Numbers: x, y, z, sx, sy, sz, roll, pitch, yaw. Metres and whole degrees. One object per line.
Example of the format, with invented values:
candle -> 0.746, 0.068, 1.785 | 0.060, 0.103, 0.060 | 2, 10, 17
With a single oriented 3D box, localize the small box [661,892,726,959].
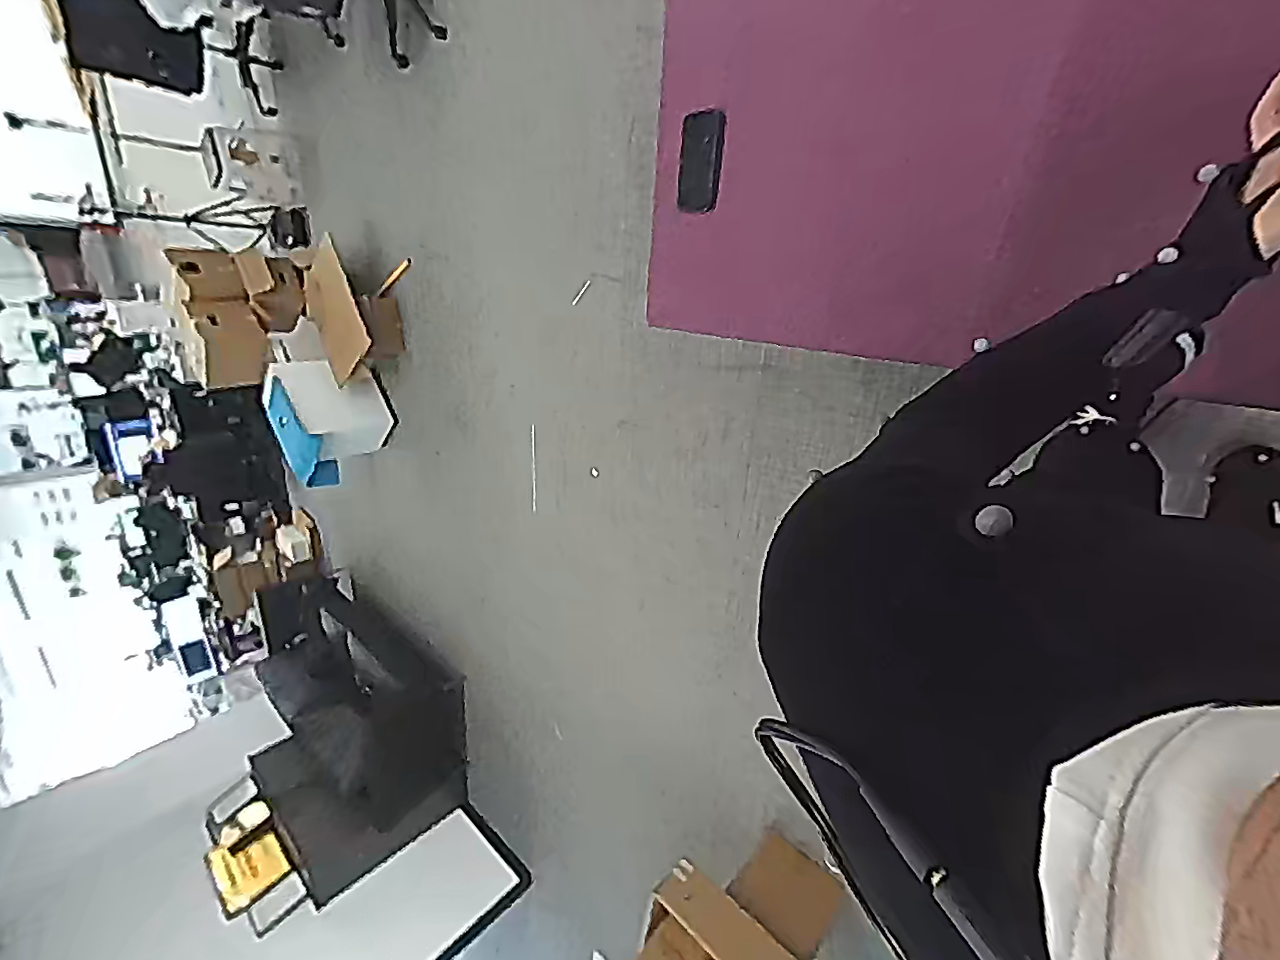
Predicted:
small box -> 0.179, 1.610, 1.889 | 0.168, 0.176, 0.179 | 27, 119, 36

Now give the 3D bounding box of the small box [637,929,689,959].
small box -> 0.070, 1.638, 1.770 | 0.168, 0.176, 0.179 | 29, 121, 36
